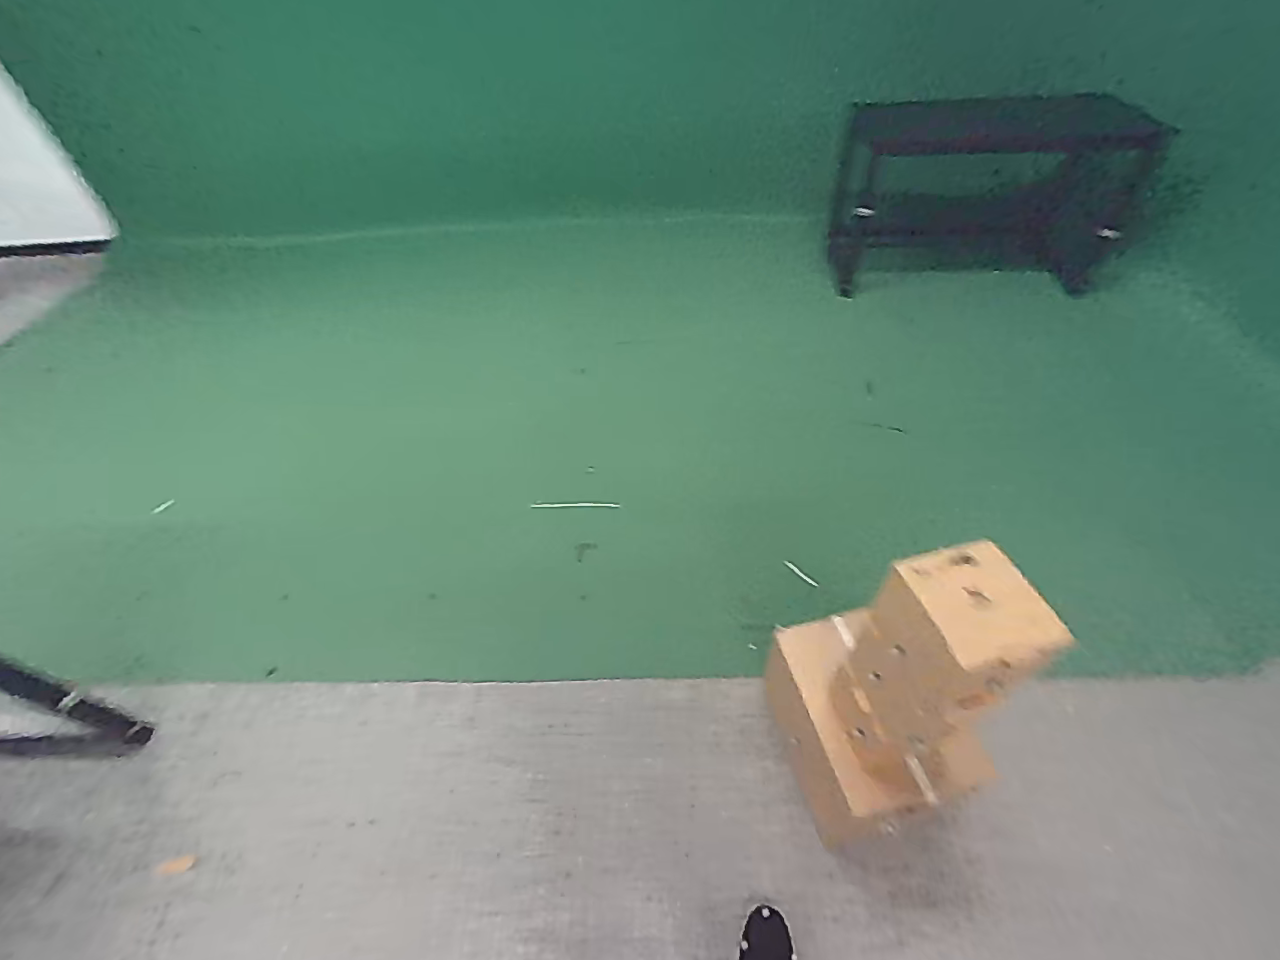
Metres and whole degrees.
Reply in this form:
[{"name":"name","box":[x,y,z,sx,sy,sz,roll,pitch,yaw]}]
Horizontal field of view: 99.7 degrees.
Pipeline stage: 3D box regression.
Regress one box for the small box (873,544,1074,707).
[{"name":"small box","box":[0.490,0.229,0.827,0.168,0.176,0.179,-11,48,-6]}]

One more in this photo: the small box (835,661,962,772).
[{"name":"small box","box":[0.503,0.453,1.066,0.179,0.176,0.168,-11,47,-6]}]

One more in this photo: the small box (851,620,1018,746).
[{"name":"small box","box":[0.498,0.344,0.945,0.168,0.176,0.179,-12,47,-6]}]

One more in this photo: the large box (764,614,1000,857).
[{"name":"large box","box":[0.521,0.588,1.274,0.320,0.320,0.408,-11,46,-7]}]
